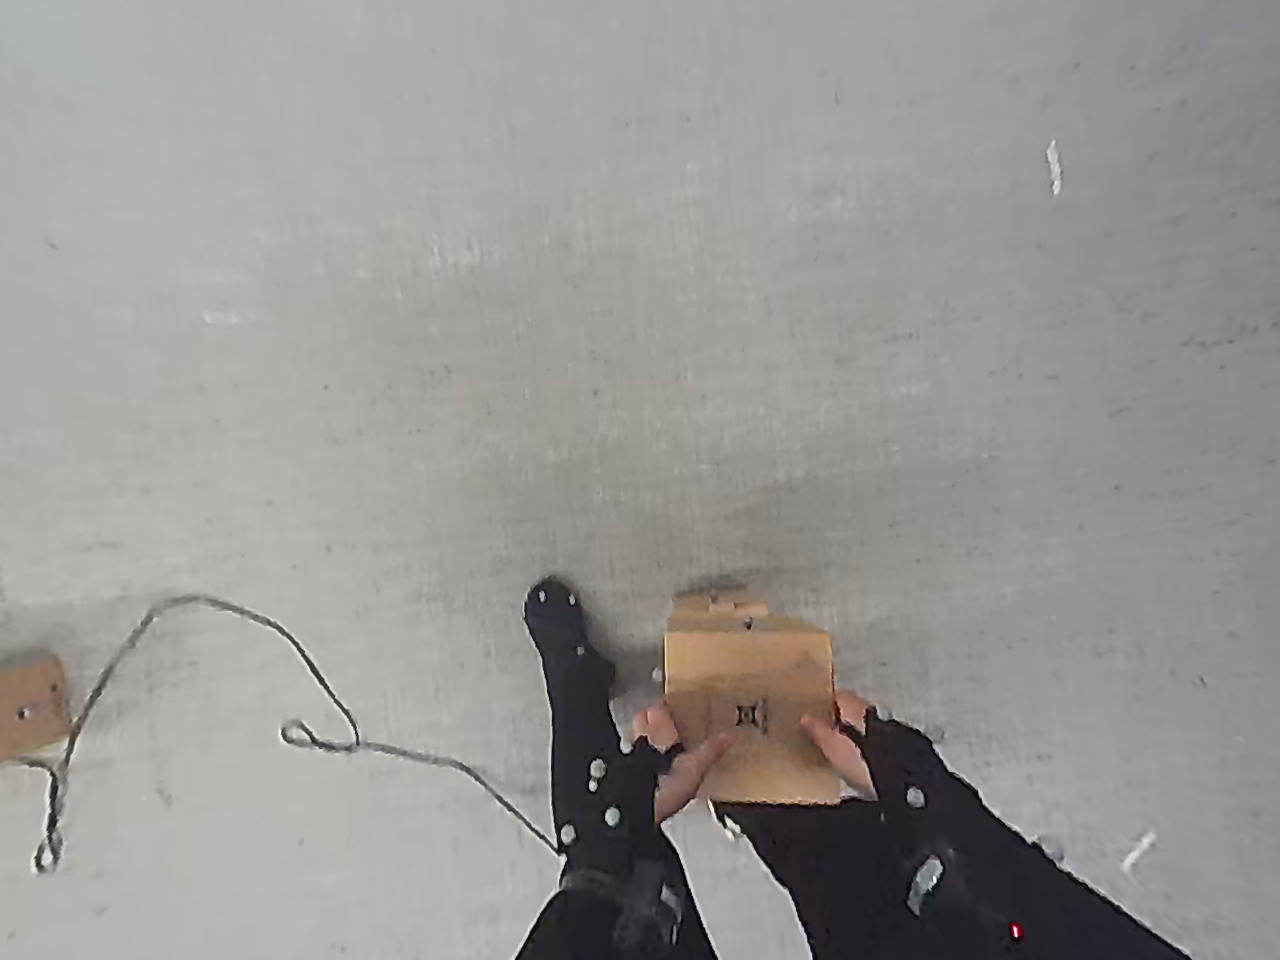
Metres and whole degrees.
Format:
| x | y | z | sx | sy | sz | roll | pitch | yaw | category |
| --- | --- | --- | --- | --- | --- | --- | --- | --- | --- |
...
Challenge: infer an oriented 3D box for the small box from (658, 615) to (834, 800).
| x | y | z | sx | sy | sz | roll | pitch | yaw | category |
| --- | --- | --- | --- | --- | --- | --- | --- | --- | --- |
| 0.110 | 0.247 | 0.626 | 0.179 | 0.176 | 0.168 | -1 | 80 | 4 | small box |

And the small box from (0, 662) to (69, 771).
| x | y | z | sx | sy | sz | roll | pitch | yaw | category |
| --- | --- | --- | --- | --- | --- | --- | --- | --- | --- |
| -1.229 | 0.457 | 1.007 | 0.179 | 0.176 | 0.168 | -15 | 86 | -1 | small box |

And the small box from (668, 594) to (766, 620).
| x | y | z | sx | sy | sz | roll | pitch | yaw | category |
| --- | --- | --- | --- | --- | --- | --- | --- | --- | --- |
| 0.146 | 0.315 | 1.027 | 0.168 | 0.176 | 0.179 | -6 | 86 | -1 | small box |
